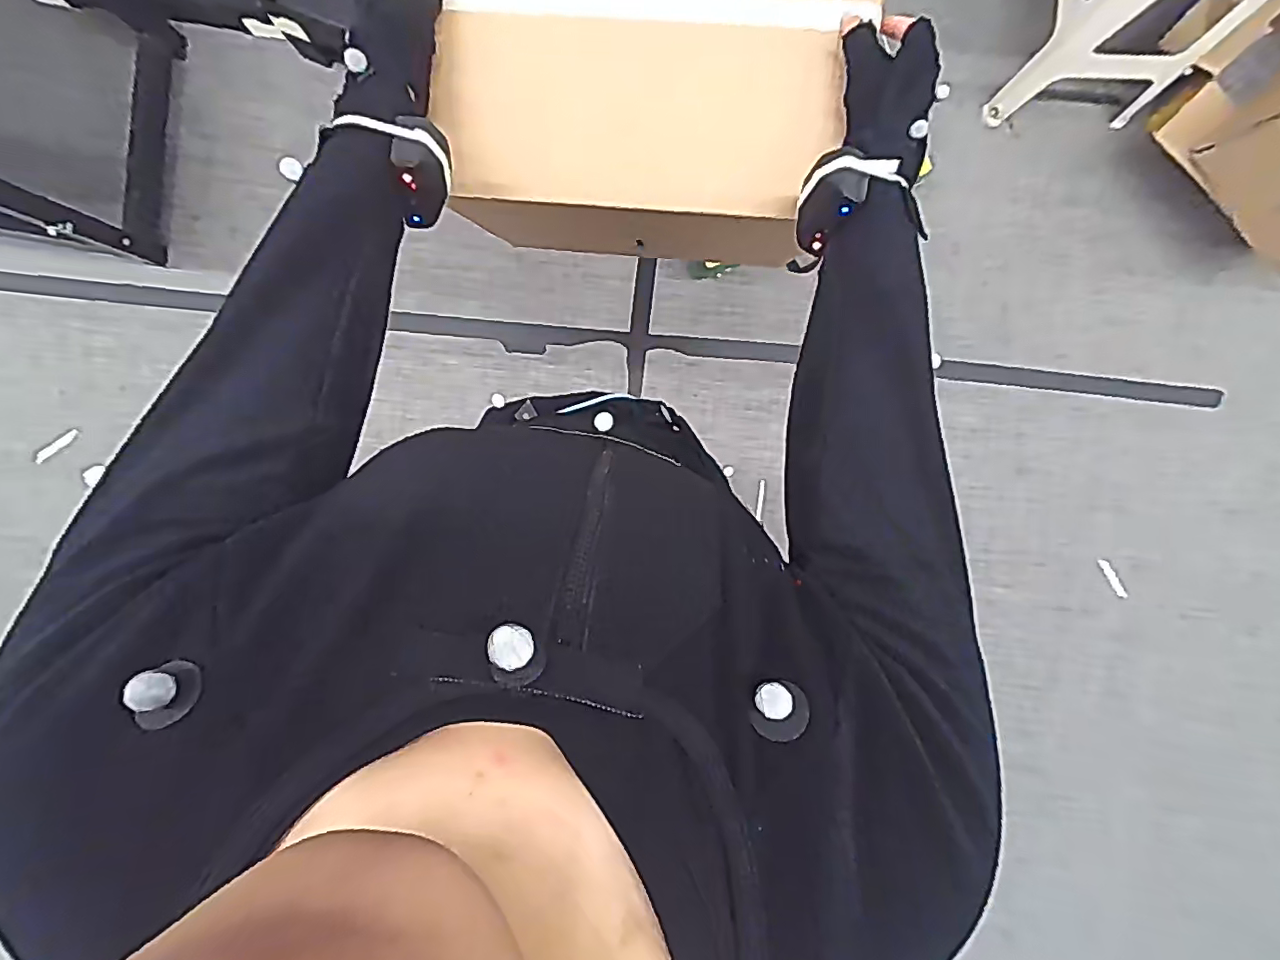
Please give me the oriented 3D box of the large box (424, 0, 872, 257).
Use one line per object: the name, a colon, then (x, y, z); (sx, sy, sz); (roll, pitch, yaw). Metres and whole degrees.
large box: (0.013, -0.448, 0.623); (0.408, 0.320, 0.320); (5, 104, 2)
